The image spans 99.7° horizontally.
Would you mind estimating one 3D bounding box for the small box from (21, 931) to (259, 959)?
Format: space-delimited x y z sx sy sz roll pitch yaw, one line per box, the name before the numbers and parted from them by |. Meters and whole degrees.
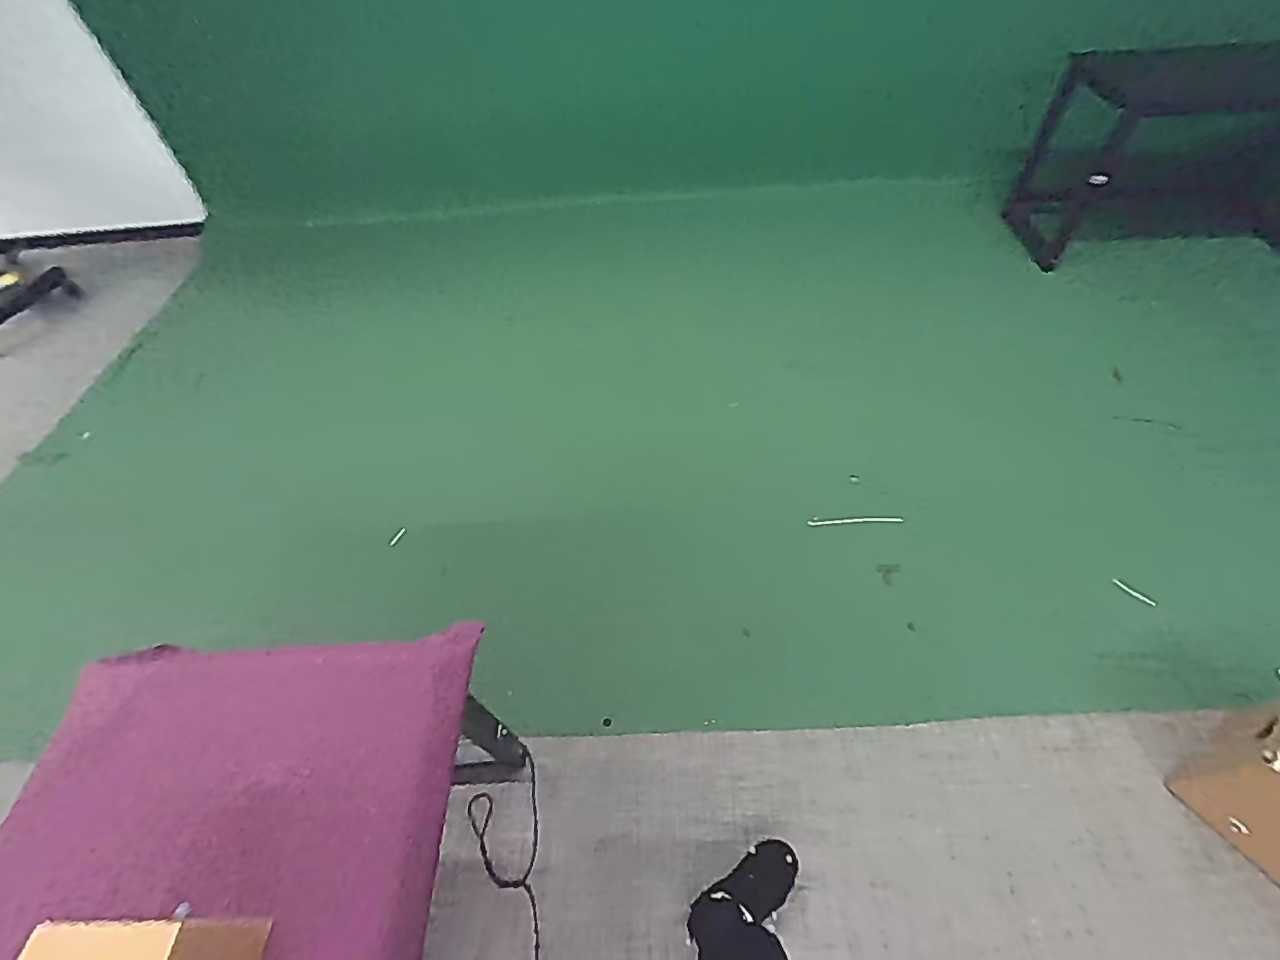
small box | -0.559 0.601 0.581 0.168 0.176 0.179 -3 53 2
